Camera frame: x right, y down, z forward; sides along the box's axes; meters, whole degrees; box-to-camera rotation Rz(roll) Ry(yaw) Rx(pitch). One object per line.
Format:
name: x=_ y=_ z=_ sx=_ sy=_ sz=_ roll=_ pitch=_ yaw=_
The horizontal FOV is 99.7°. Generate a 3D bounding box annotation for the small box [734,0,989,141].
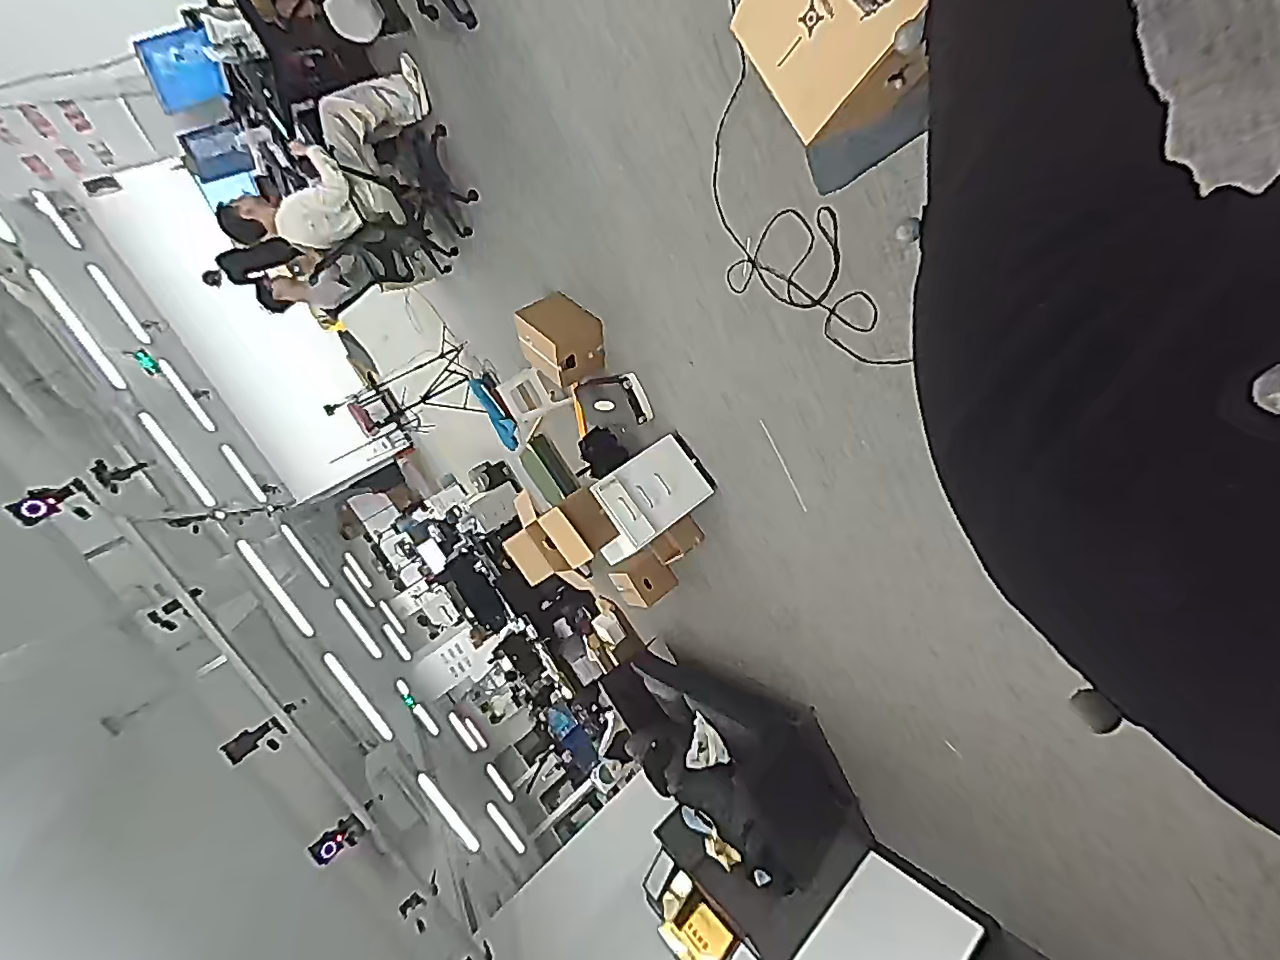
small box: x=0.240 y=-0.512 z=0.569 sx=0.168 sy=0.176 sz=0.179 roll=56 pitch=157 yaw=-3
